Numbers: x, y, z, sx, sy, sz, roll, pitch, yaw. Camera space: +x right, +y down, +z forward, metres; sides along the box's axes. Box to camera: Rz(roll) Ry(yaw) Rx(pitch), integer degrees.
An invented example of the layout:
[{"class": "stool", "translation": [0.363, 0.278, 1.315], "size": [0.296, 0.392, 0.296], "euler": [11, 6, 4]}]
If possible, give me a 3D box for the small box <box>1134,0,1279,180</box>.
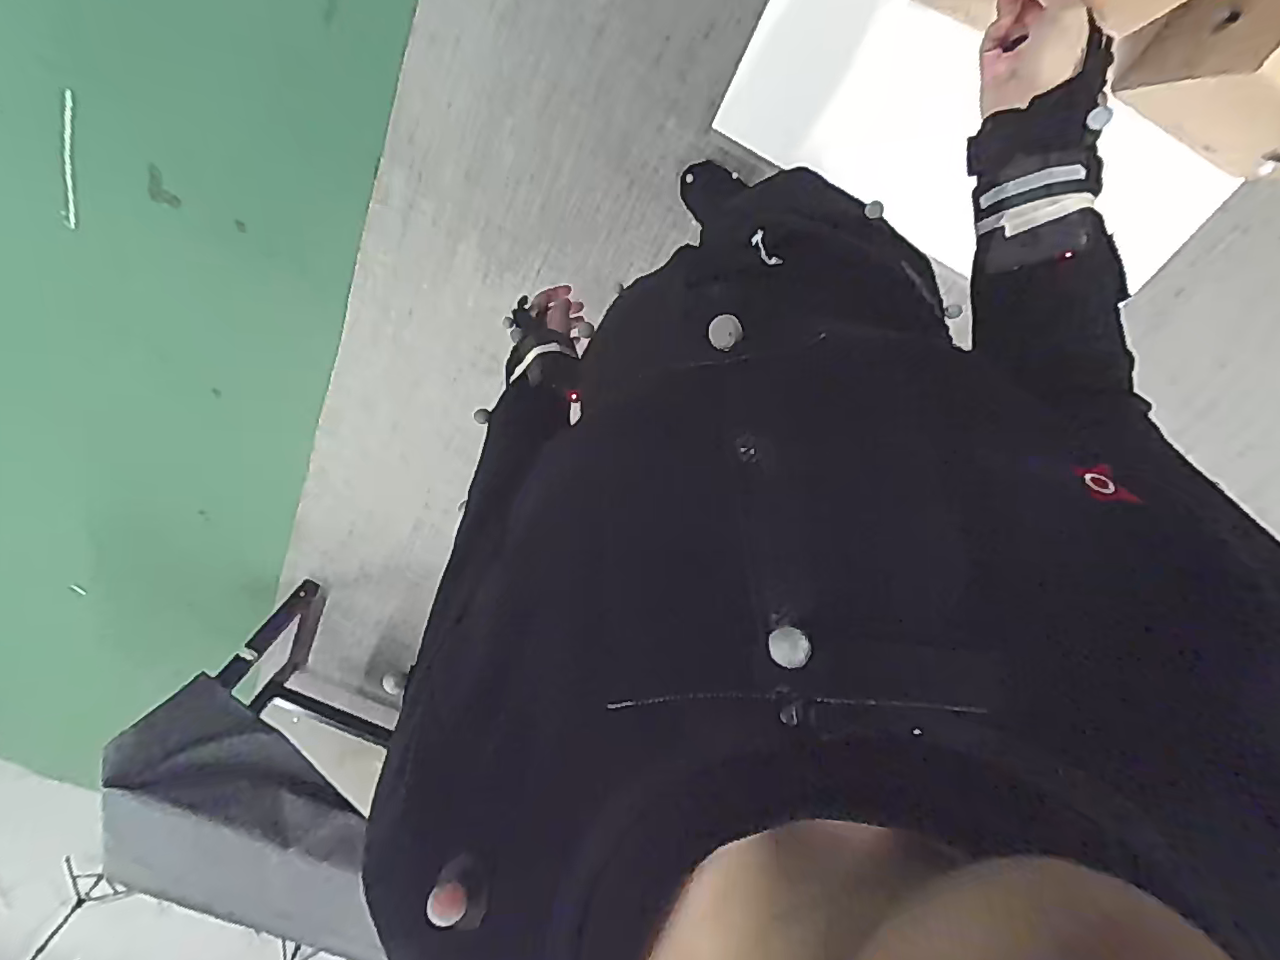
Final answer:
[{"class": "small box", "translation": [0.551, -0.355, 0.421], "size": [0.168, 0.176, 0.179], "euler": [25, 120, -9]}]
